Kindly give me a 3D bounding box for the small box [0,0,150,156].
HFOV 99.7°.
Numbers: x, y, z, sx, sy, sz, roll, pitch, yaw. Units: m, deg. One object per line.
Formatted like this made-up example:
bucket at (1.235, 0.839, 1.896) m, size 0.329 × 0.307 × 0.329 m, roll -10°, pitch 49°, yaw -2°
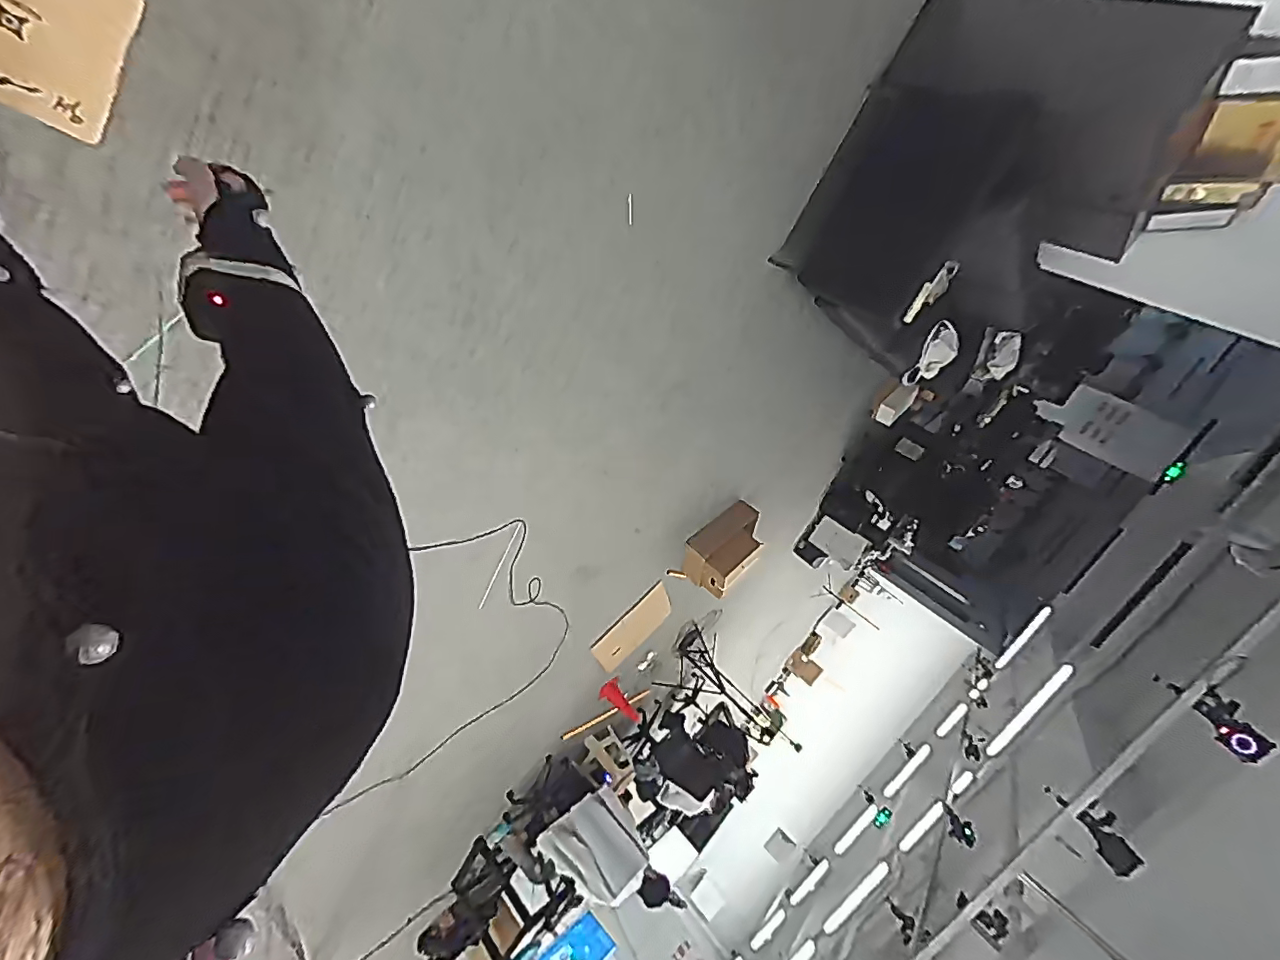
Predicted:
small box at (-0.682, -0.499, 0.585) m, size 0.168 × 0.176 × 0.179 m, roll 12°, pitch 109°, yaw -58°
